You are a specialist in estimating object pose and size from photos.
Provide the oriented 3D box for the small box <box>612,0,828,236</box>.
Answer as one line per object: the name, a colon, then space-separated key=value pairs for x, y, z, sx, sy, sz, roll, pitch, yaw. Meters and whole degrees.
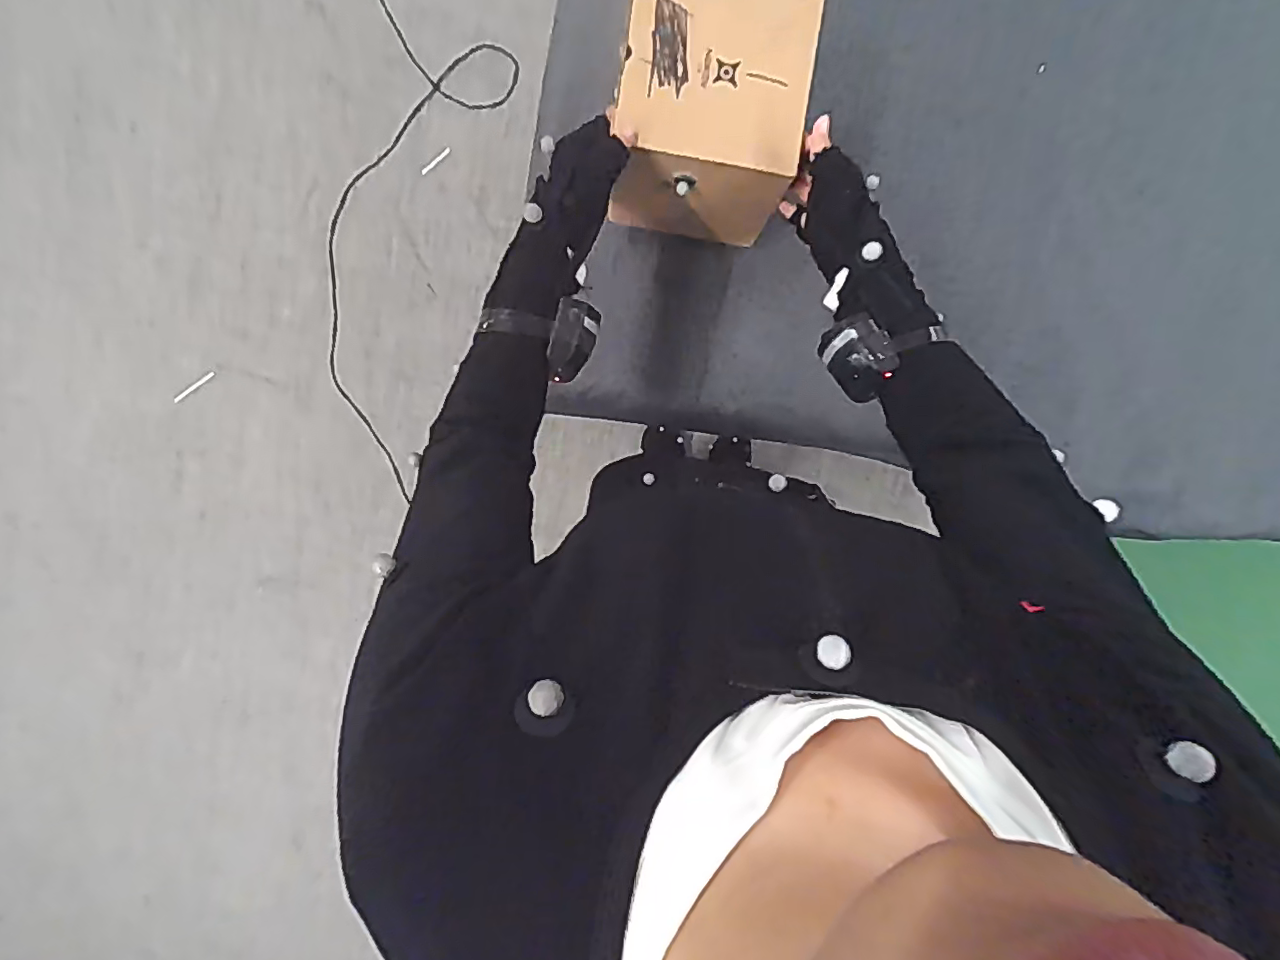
small box: x=0.068 y=-0.378 z=0.563 sx=0.179 sy=0.176 sz=0.168 roll=9 pitch=93 yaw=-4
